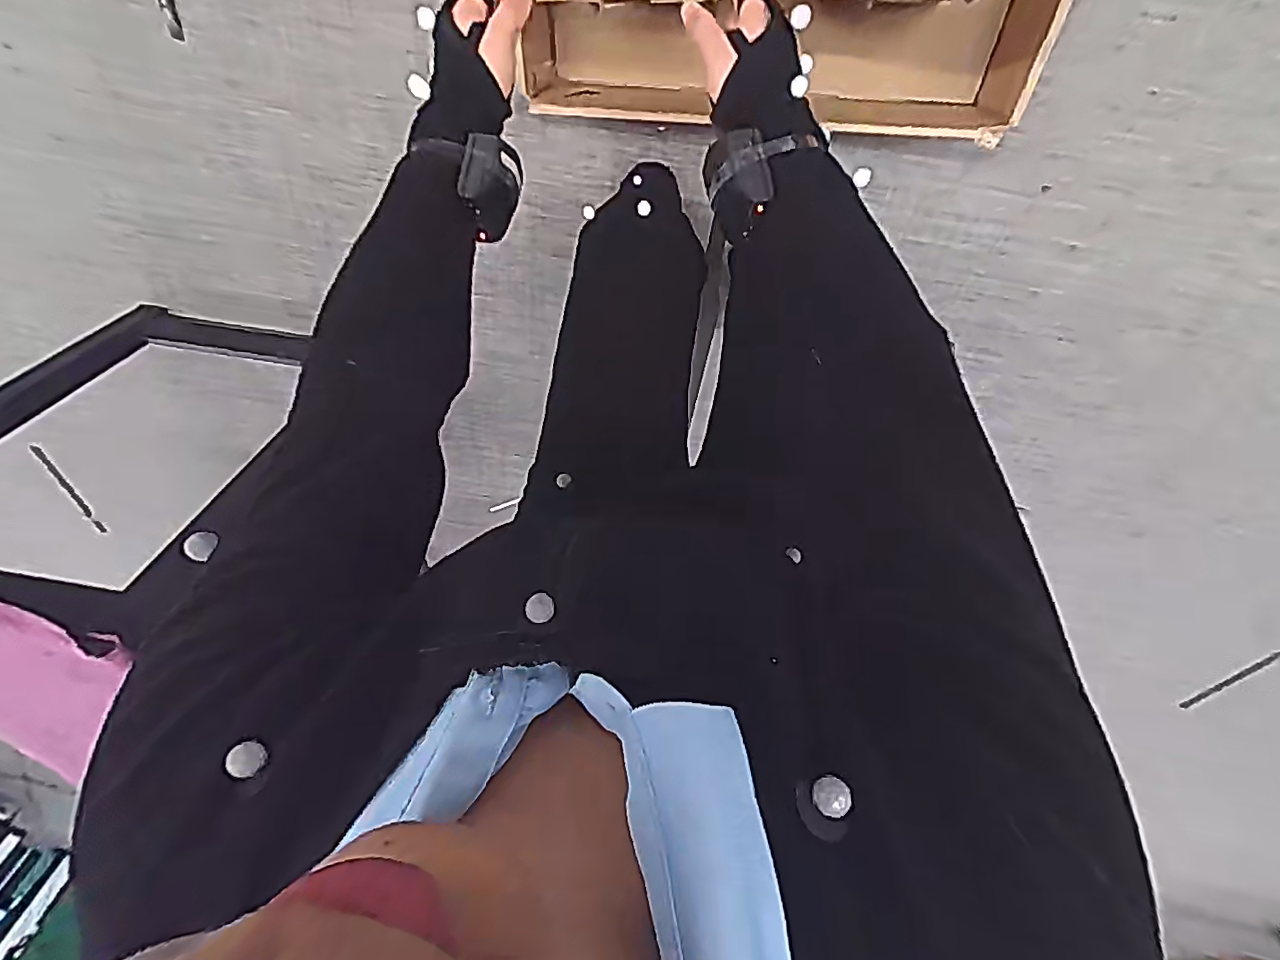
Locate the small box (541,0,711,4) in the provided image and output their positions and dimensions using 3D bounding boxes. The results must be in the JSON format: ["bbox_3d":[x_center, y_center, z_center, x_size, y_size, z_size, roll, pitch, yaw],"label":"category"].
[{"bbox_3d":[-0.006,-0.534,0.469,0.168,0.176,0.179,4,132,4],"label":"small box"}]
